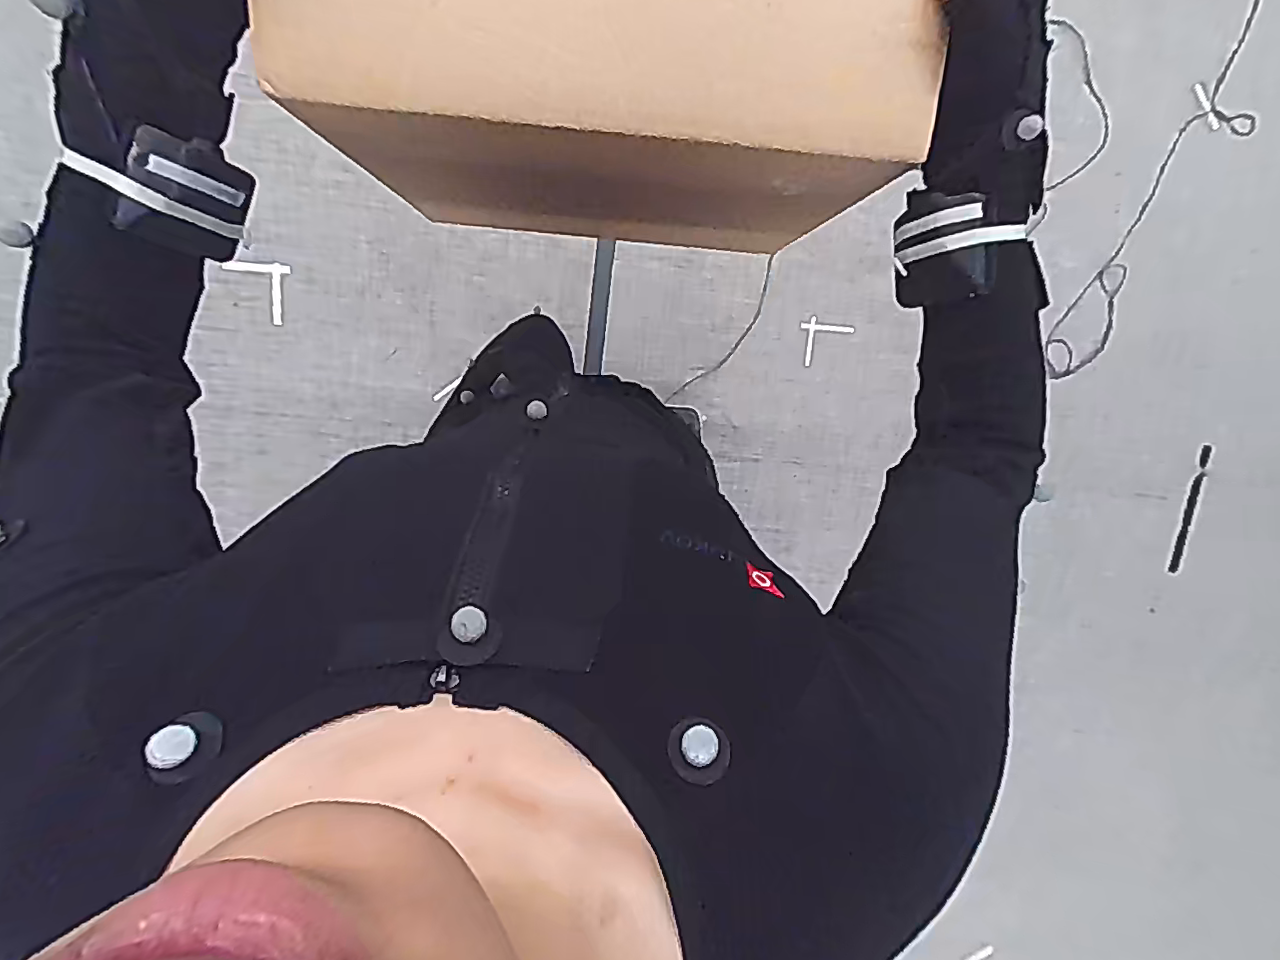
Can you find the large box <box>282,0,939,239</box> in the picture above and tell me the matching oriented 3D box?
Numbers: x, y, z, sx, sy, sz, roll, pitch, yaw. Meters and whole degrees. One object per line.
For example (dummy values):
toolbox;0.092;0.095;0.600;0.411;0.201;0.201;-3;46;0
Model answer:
large box;-0.018;-0.407;0.452;0.408;0.320;0.320;2;103;-5
